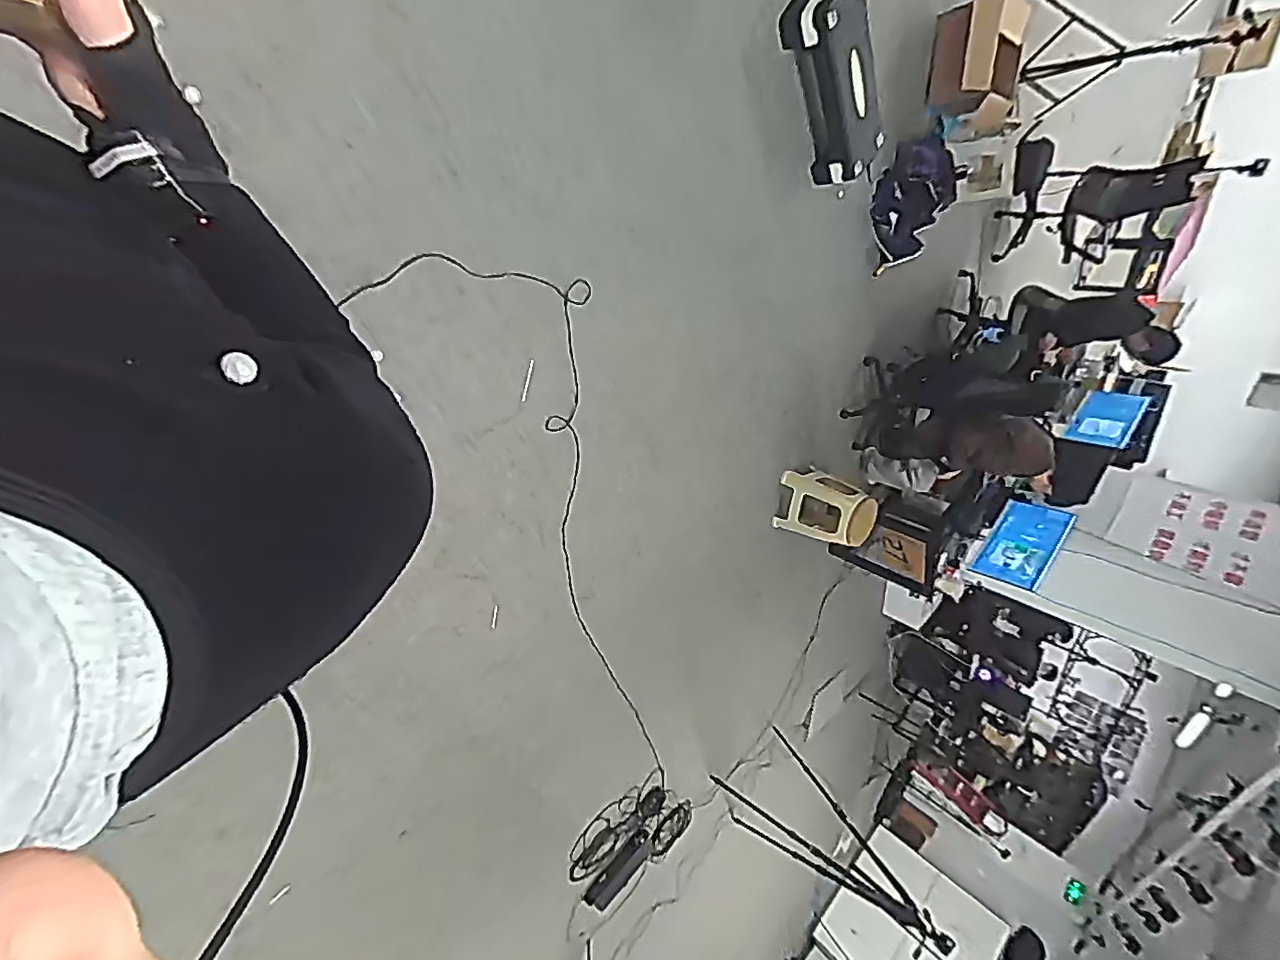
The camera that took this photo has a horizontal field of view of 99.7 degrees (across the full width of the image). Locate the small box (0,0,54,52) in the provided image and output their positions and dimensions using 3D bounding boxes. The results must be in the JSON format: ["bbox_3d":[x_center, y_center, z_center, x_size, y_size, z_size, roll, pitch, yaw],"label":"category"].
[{"bbox_3d":[-0.425,-0.334,0.256,0.179,0.176,0.168,-14,120,-41],"label":"small box"}]
